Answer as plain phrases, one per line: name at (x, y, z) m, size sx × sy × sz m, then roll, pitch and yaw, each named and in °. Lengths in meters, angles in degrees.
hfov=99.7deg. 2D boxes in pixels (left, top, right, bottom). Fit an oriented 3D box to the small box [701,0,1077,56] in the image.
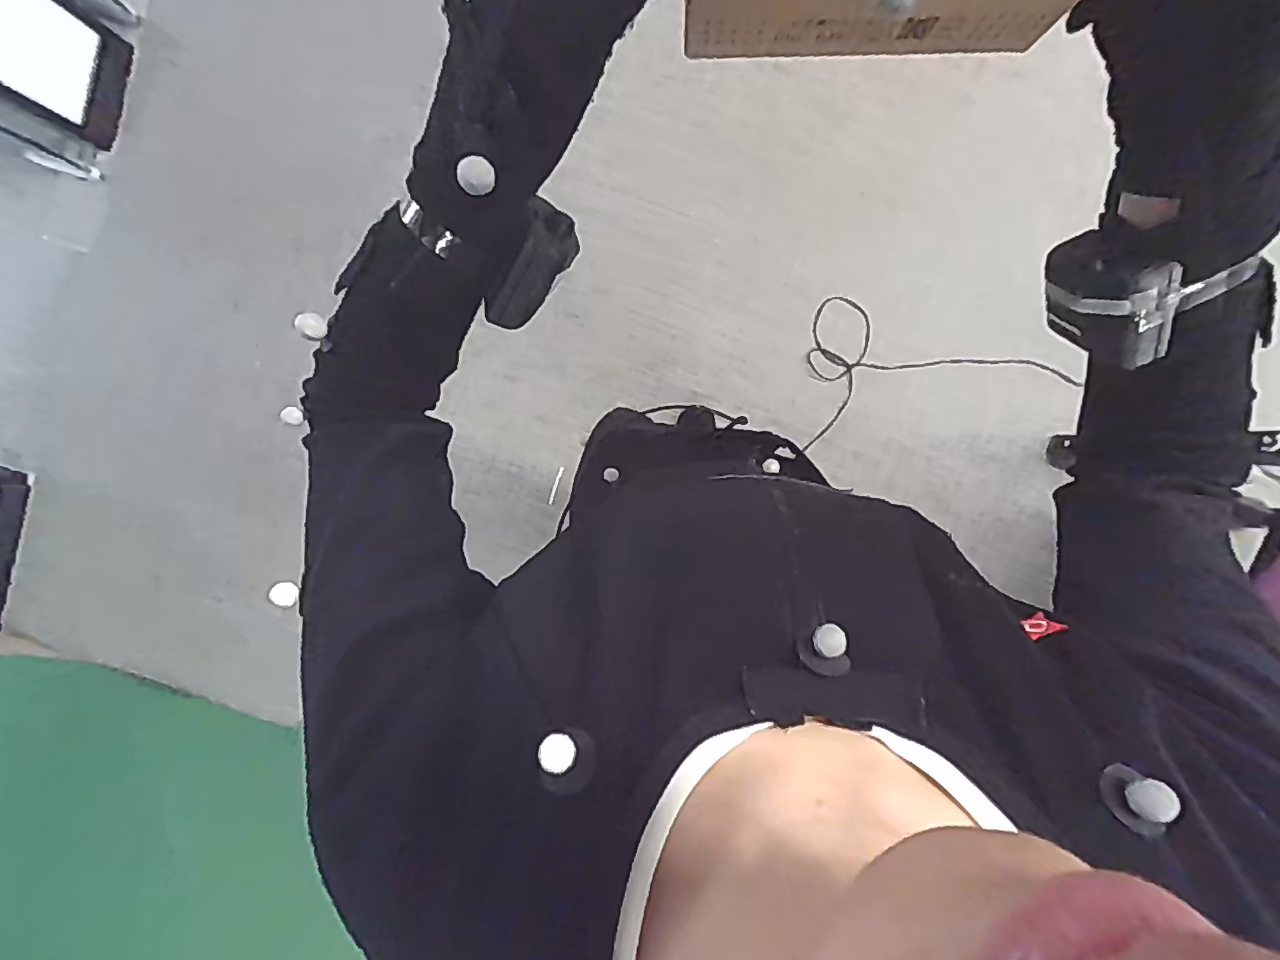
small box at (0.106, -0.279, 0.167) m, size 0.168 × 0.176 × 0.179 m, roll 1°, pitch 99°, yaw 3°
